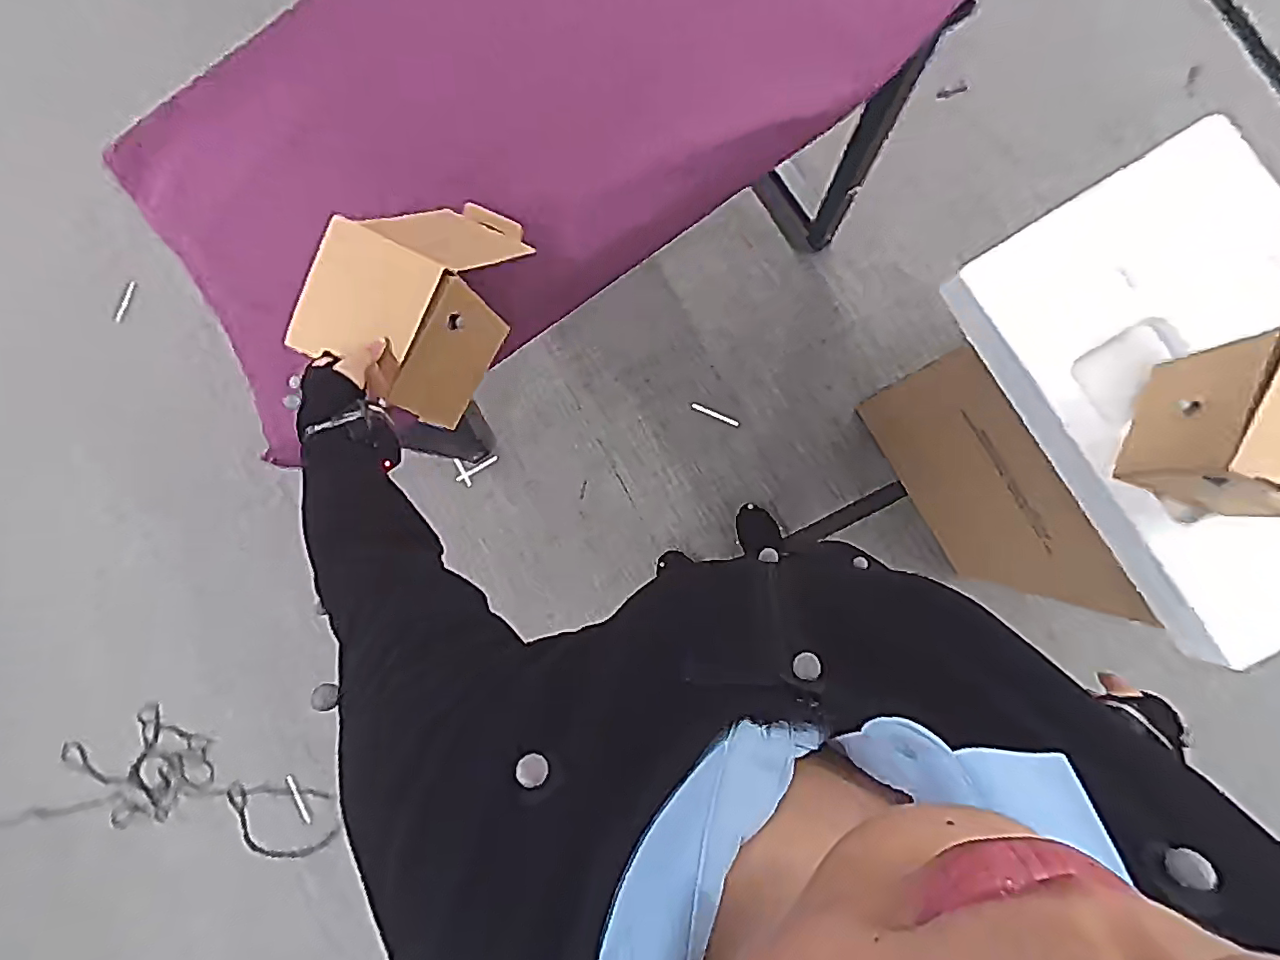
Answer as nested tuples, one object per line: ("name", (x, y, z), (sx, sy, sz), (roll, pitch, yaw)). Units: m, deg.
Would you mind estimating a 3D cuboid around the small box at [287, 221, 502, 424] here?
("small box", (-0.313, -0.201, 0.731), (0.168, 0.176, 0.179), (29, 89, 13))
